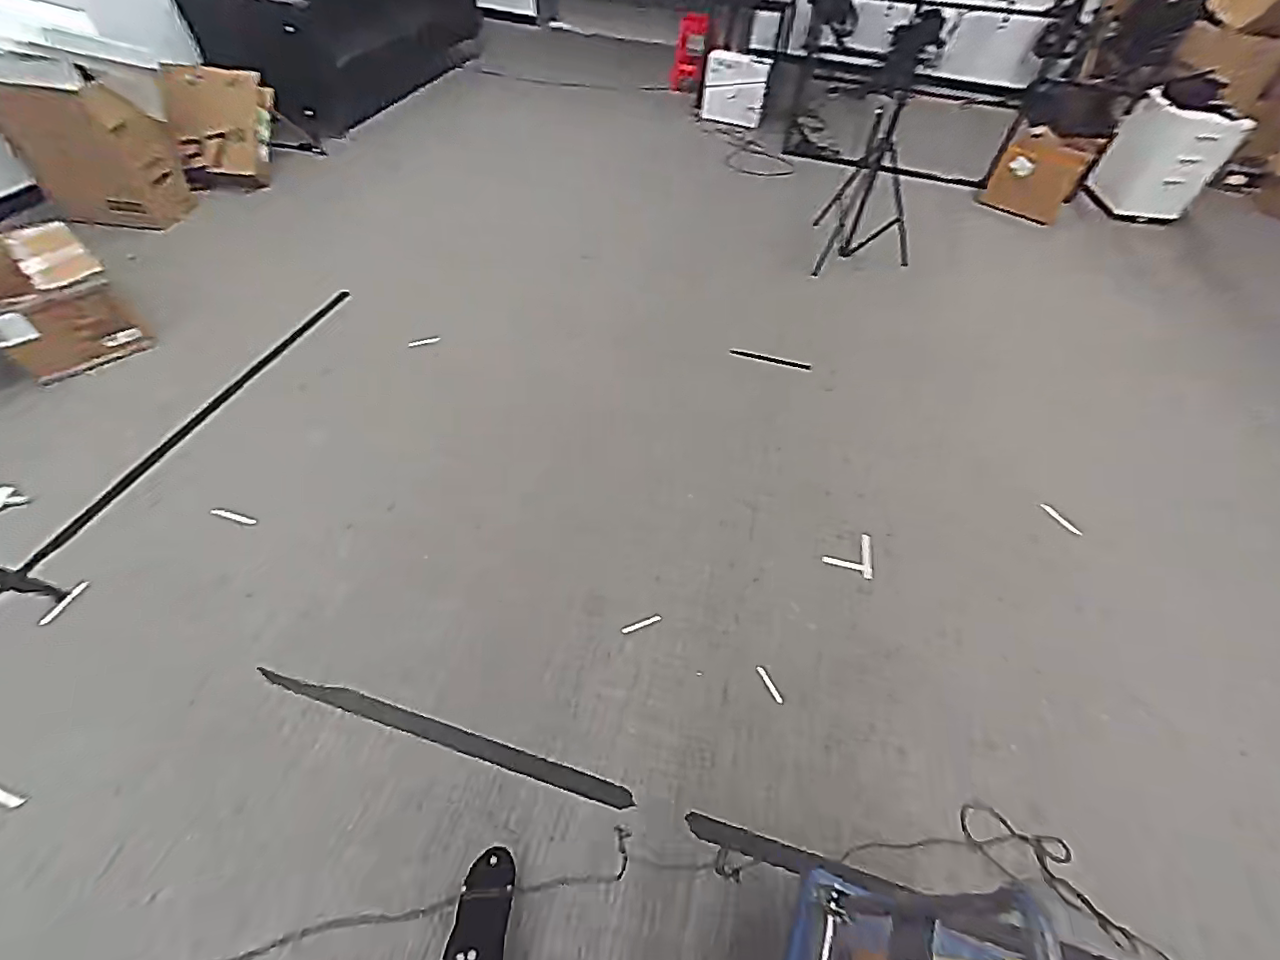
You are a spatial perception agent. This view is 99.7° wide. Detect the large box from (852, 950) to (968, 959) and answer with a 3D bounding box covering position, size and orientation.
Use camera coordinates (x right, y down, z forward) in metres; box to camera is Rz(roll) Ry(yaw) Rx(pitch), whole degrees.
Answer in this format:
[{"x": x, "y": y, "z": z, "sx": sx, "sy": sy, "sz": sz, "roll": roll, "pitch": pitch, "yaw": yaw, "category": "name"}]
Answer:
[{"x": 0.539, "y": 0.966, "z": 0.784, "sx": 0.320, "sy": 0.320, "sz": 0.408, "roll": 6, "pitch": 51, "yaw": 2, "category": "large box"}]
